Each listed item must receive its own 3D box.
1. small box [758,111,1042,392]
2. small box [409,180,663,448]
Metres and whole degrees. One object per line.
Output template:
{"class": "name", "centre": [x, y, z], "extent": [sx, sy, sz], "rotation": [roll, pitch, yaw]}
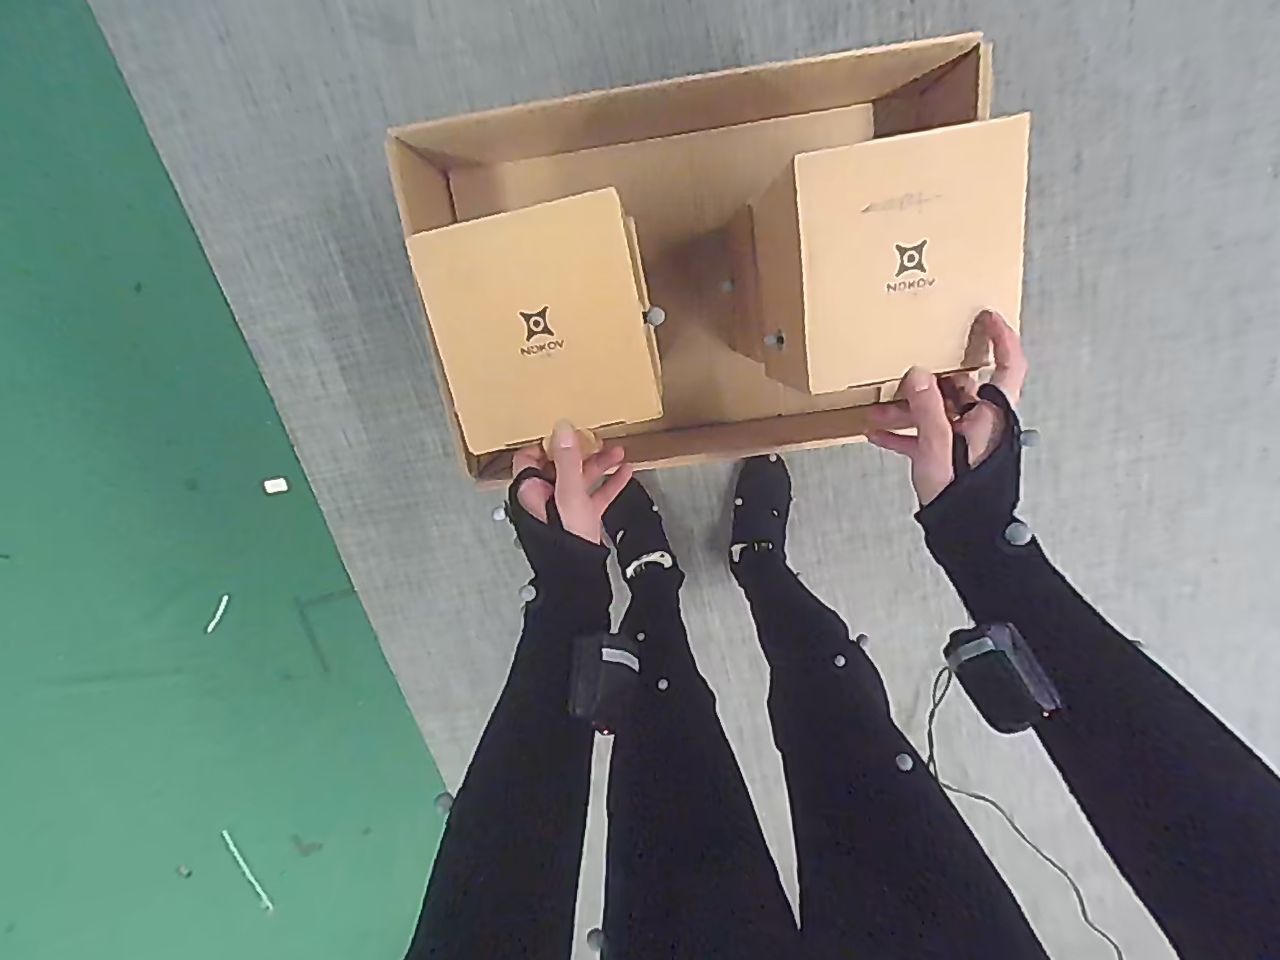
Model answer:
{"class": "small box", "centre": [0.203, -0.182, 0.470], "extent": [0.168, 0.176, 0.179], "rotation": [-7, 105, 3]}
{"class": "small box", "centre": [-0.076, -0.143, 0.492], "extent": [0.168, 0.176, 0.179], "rotation": [-11, 106, 4]}
